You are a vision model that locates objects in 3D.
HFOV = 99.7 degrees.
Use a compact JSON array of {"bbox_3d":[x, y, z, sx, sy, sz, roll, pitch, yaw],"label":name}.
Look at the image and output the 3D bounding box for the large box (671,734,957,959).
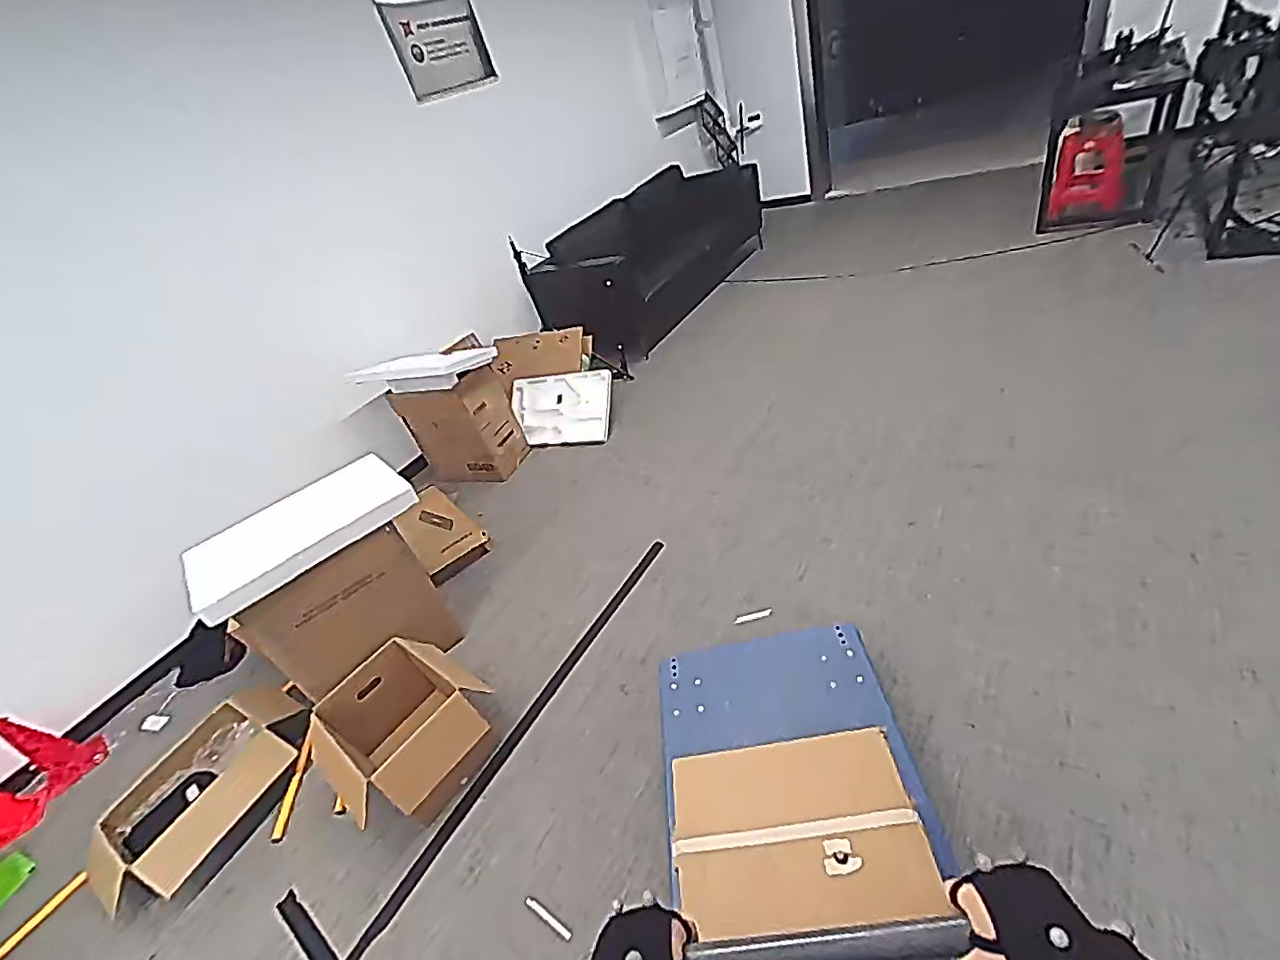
[{"bbox_3d":[0.293,0.723,0.993,0.408,0.320,0.320,-13,36,8],"label":"large box"}]
